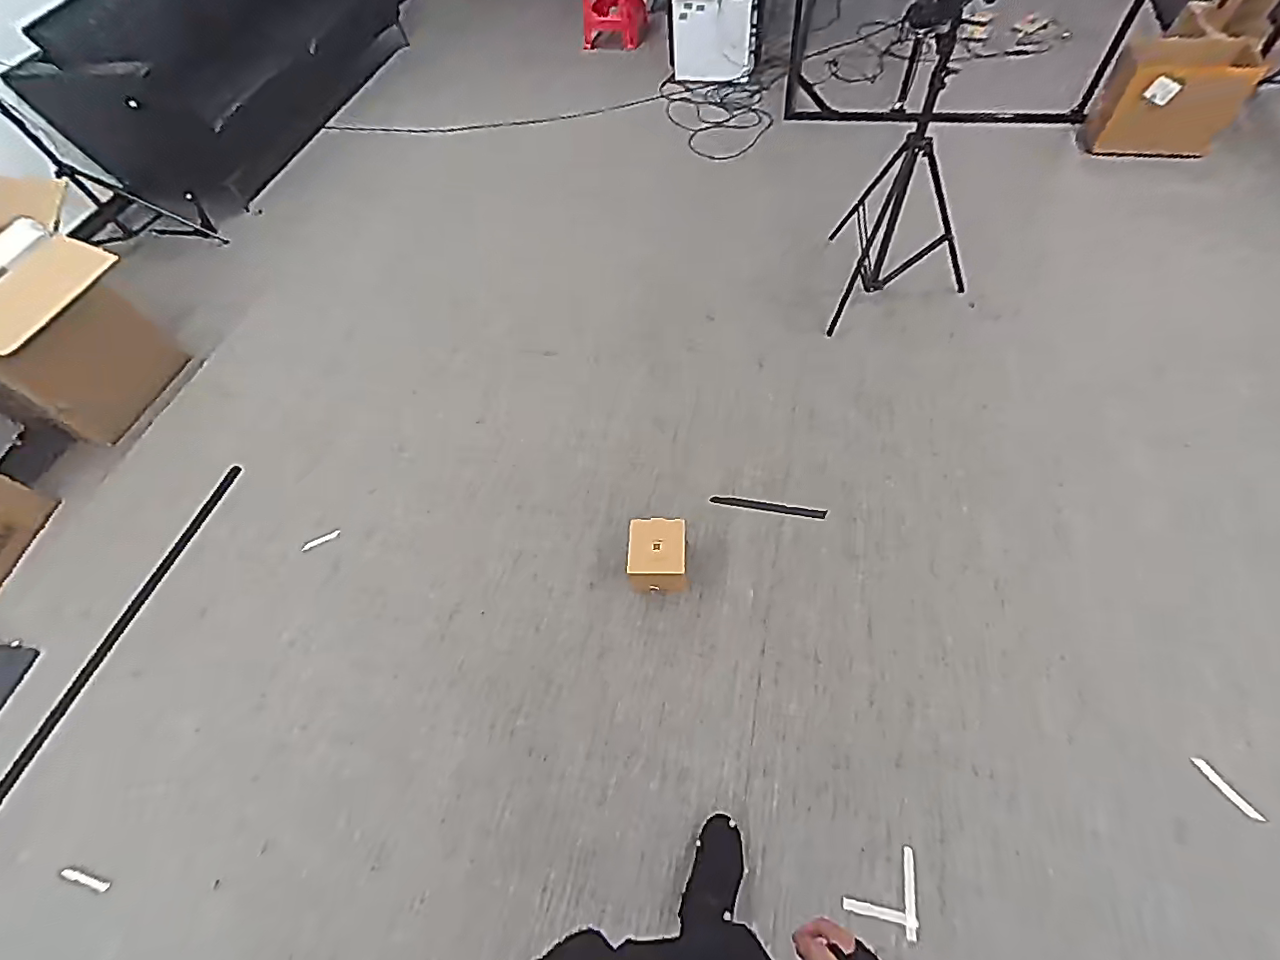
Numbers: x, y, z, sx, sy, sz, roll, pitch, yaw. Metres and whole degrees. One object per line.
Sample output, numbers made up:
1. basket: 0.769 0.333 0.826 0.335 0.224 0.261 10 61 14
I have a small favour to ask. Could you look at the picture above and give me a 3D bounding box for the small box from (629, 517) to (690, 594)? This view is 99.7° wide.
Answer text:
1. small box: 0.063 0.227 1.622 0.168 0.176 0.179 -1 59 8
